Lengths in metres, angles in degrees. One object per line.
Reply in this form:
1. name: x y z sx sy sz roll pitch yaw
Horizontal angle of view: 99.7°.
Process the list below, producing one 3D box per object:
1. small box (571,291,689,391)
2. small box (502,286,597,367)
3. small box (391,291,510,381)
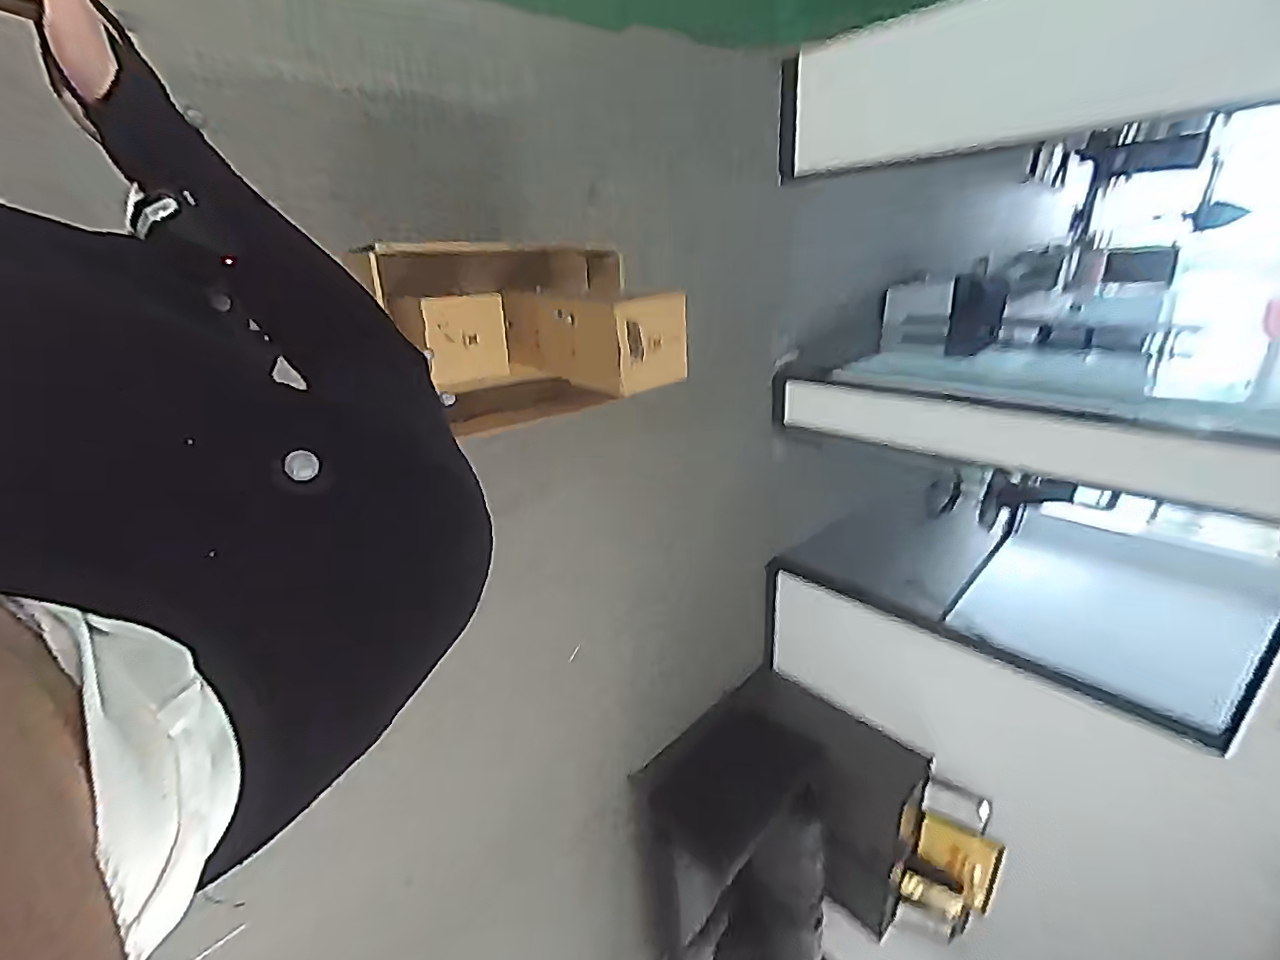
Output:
1. small box: -0.024 -0.281 1.070 0.179 0.176 0.168 -21 120 -36
2. small box: -0.220 -0.379 1.316 0.179 0.176 0.168 -19 118 -36
3. small box: -0.400 -0.314 1.151 0.179 0.176 0.168 -19 118 -40
